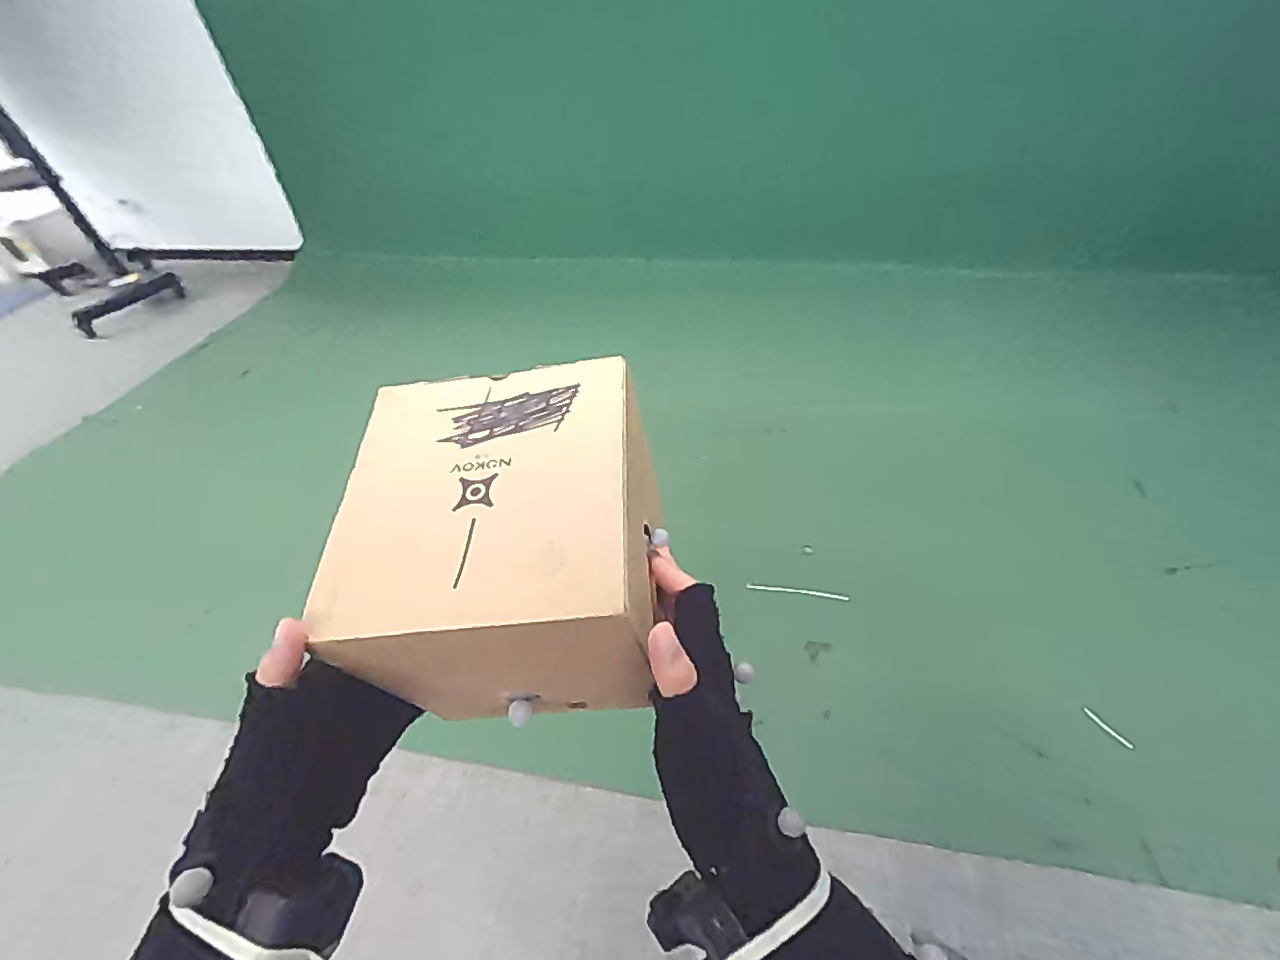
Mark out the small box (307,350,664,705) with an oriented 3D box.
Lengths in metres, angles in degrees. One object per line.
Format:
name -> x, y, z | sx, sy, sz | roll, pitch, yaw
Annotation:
small box -> -0.077, 0.040, 0.373 | 0.168, 0.176, 0.179 | -7, 54, 6
